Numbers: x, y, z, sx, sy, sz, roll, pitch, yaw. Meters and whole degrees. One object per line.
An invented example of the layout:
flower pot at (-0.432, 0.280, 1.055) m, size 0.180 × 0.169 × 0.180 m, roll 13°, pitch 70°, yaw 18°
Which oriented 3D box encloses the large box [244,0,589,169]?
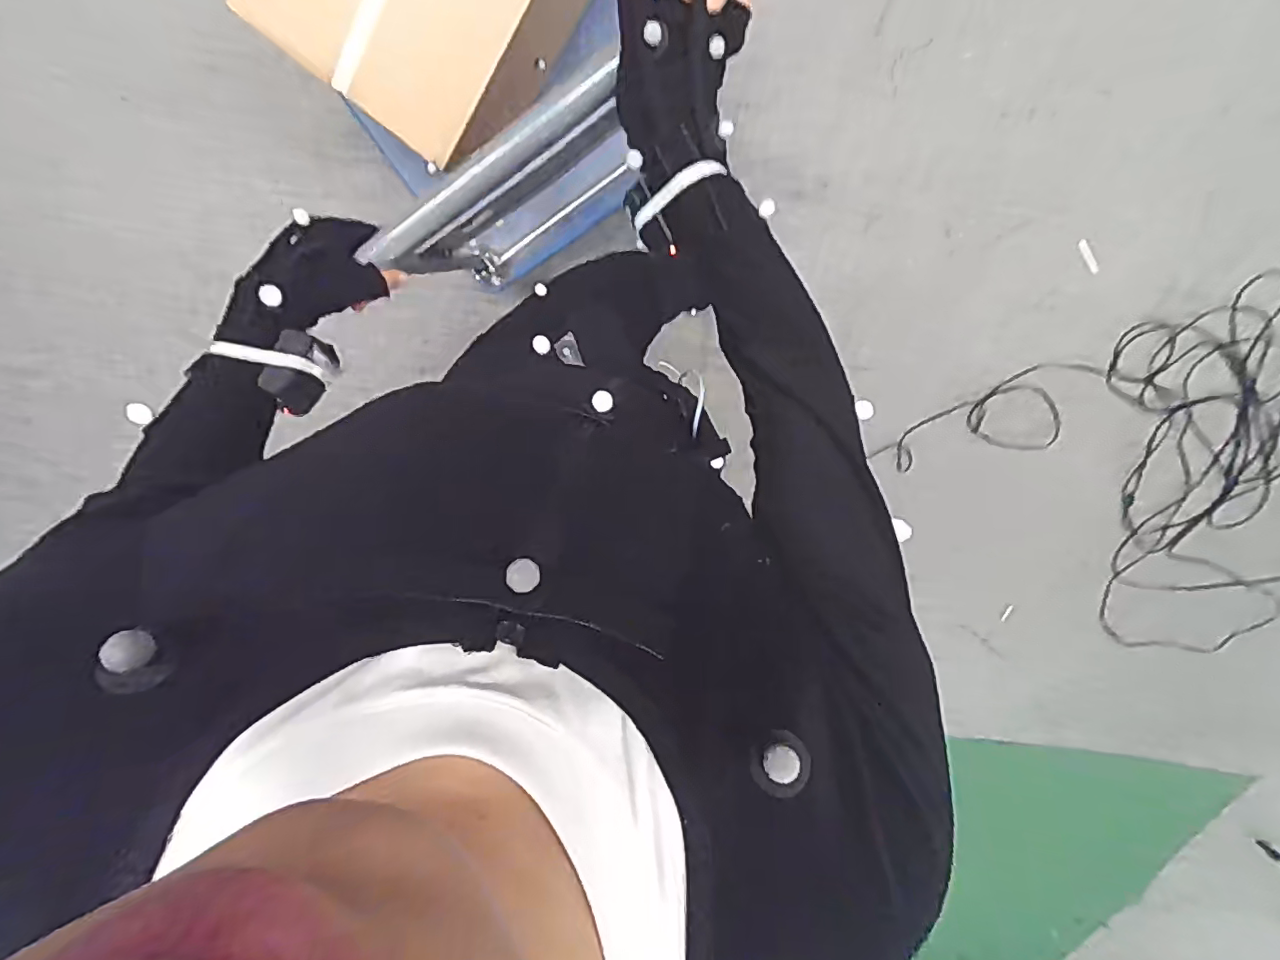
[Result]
large box at (-0.278, -0.748, 0.801) m, size 0.320 × 0.320 × 0.408 m, roll 34°, pitch 113°, yaw -16°
